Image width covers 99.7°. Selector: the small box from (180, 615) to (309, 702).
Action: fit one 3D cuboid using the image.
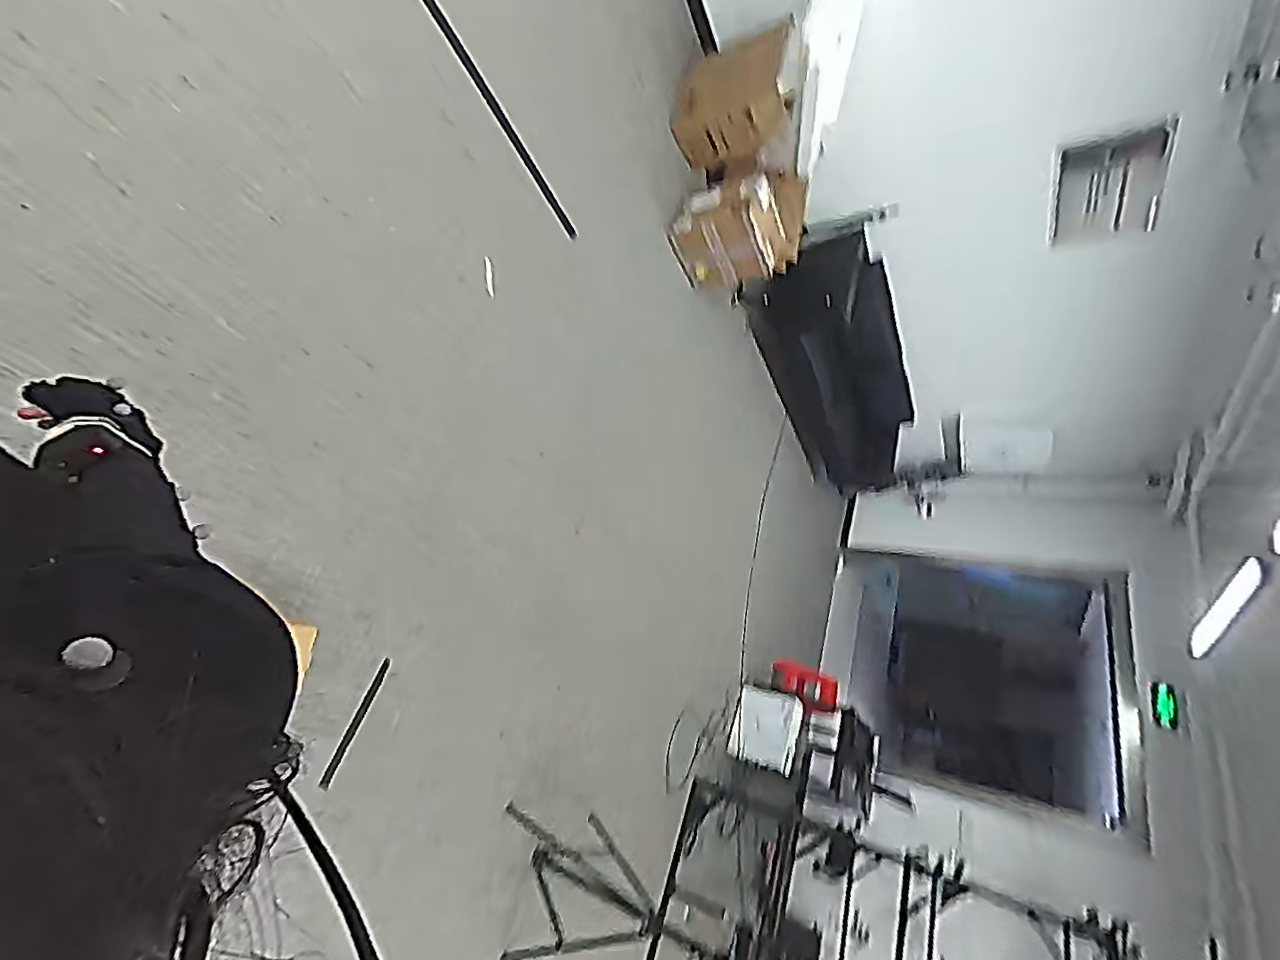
[{"bbox_3d":[-0.937,0.420,1.284,0.179,0.176,0.168,27,68,-53],"label":"small box"}]
